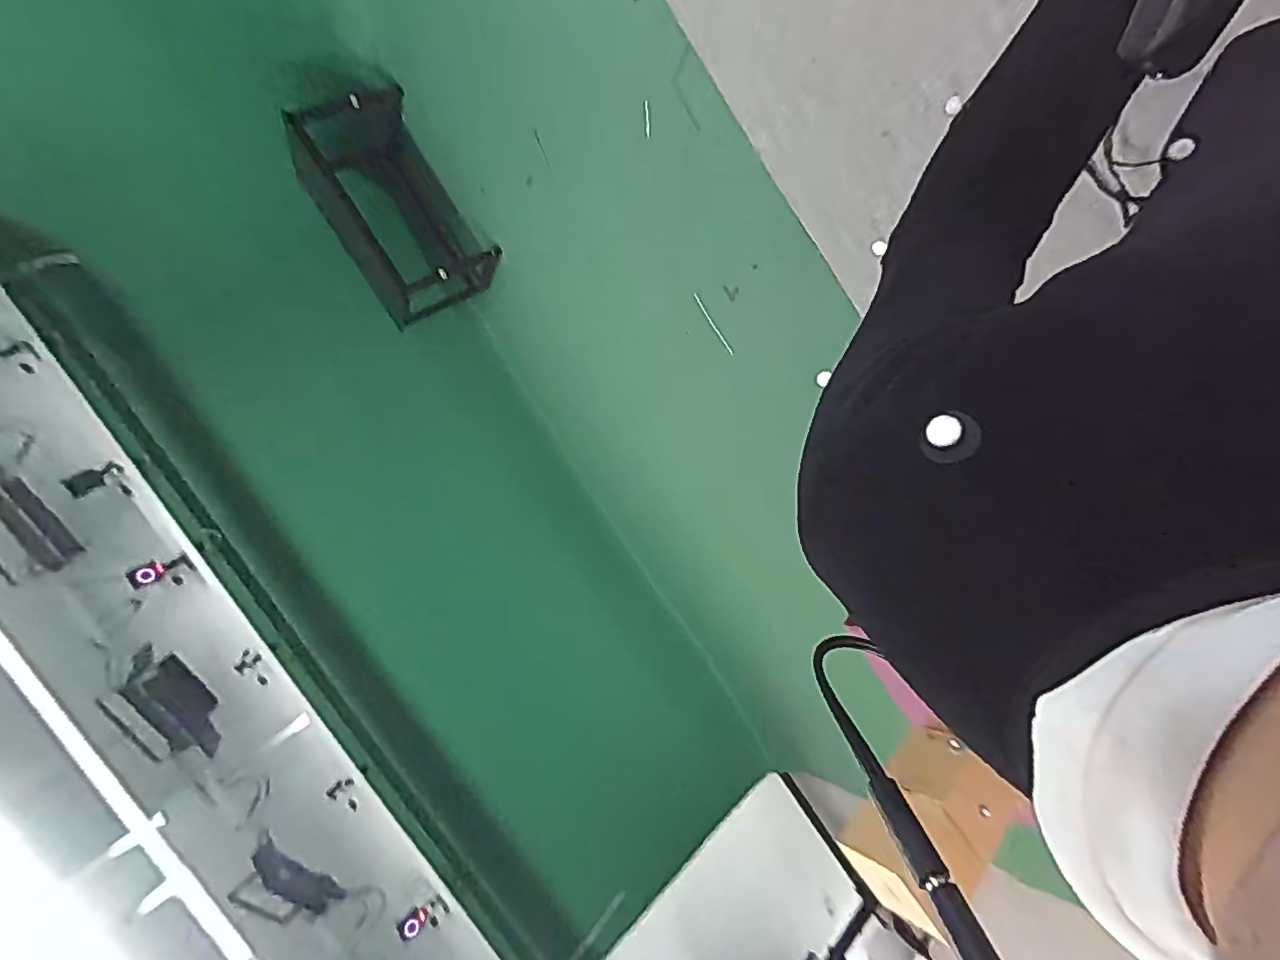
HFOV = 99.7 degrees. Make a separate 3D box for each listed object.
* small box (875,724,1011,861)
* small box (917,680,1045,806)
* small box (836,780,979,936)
[{"bbox_3d":[0.669,0.674,1.194,0.179,0.176,0.168,55,154,-4],"label":"small box"},{"bbox_3d":[0.800,0.604,1.266,0.179,0.176,0.168,57,154,-5],"label":"small box"},{"bbox_3d":[0.556,0.770,1.127,0.179,0.176,0.168,54,154,-3],"label":"small box"}]
